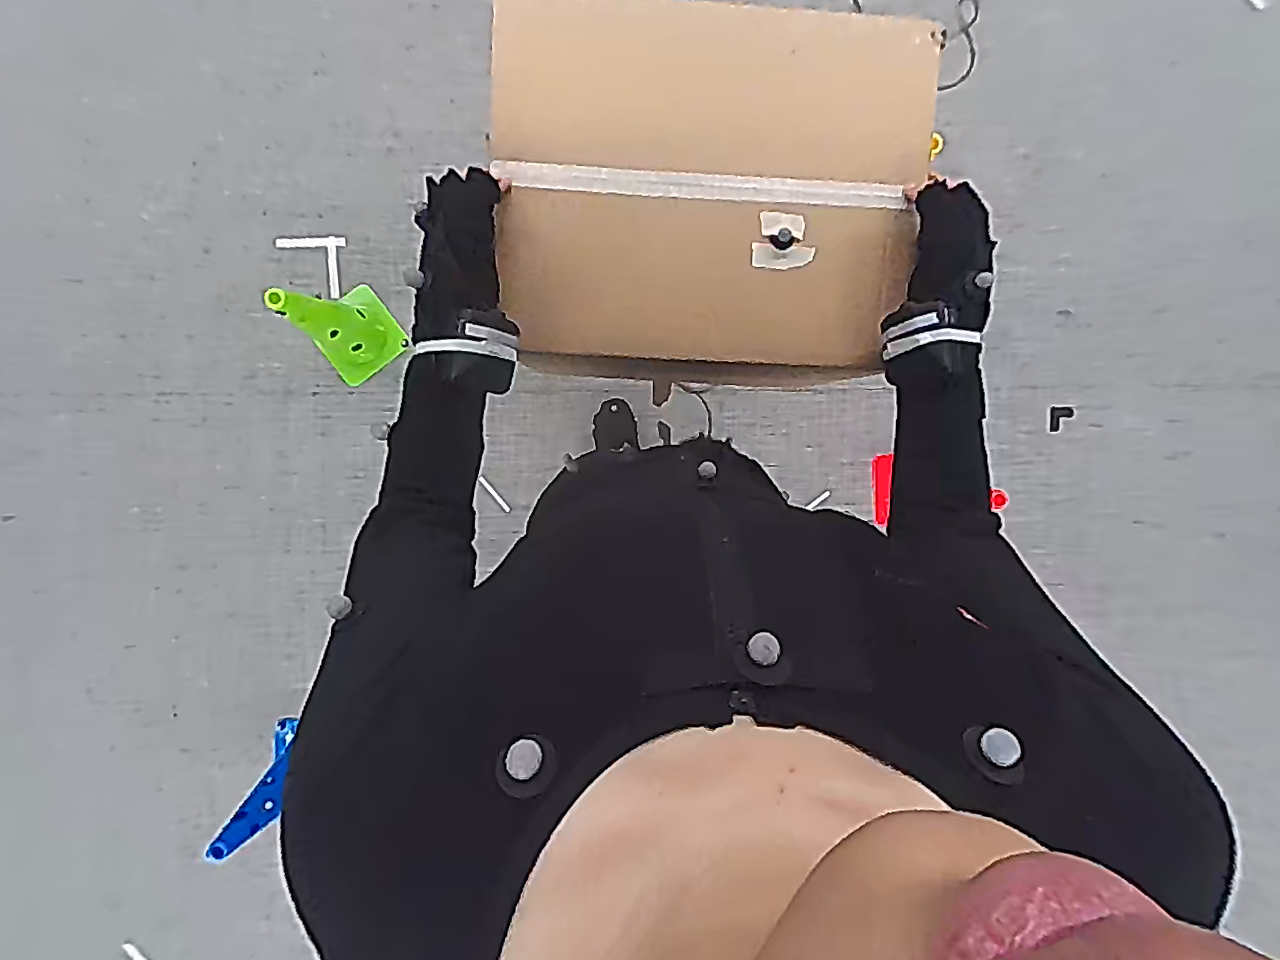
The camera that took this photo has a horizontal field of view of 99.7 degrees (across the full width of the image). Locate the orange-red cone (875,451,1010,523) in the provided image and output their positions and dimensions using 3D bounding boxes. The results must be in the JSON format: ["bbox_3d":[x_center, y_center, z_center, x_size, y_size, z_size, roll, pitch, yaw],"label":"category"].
[{"bbox_3d":[0.757,0.026,1.323,0.198,0.360,0.199,-3,92,-4],"label":"orange-red cone"}]

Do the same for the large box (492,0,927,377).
[{"bbox_3d":[0.054,-0.296,0.649,0.408,0.320,0.320,2,97,-3],"label":"large box"}]

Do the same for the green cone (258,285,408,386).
[{"bbox_3d":[-0.727,-0.364,1.231,0.202,0.368,0.200,-38,93,1],"label":"green cone"}]

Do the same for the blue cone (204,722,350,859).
[{"bbox_3d":[-0.877,0.755,1.298,0.192,0.380,0.193,3,93,-2],"label":"blue cone"}]
